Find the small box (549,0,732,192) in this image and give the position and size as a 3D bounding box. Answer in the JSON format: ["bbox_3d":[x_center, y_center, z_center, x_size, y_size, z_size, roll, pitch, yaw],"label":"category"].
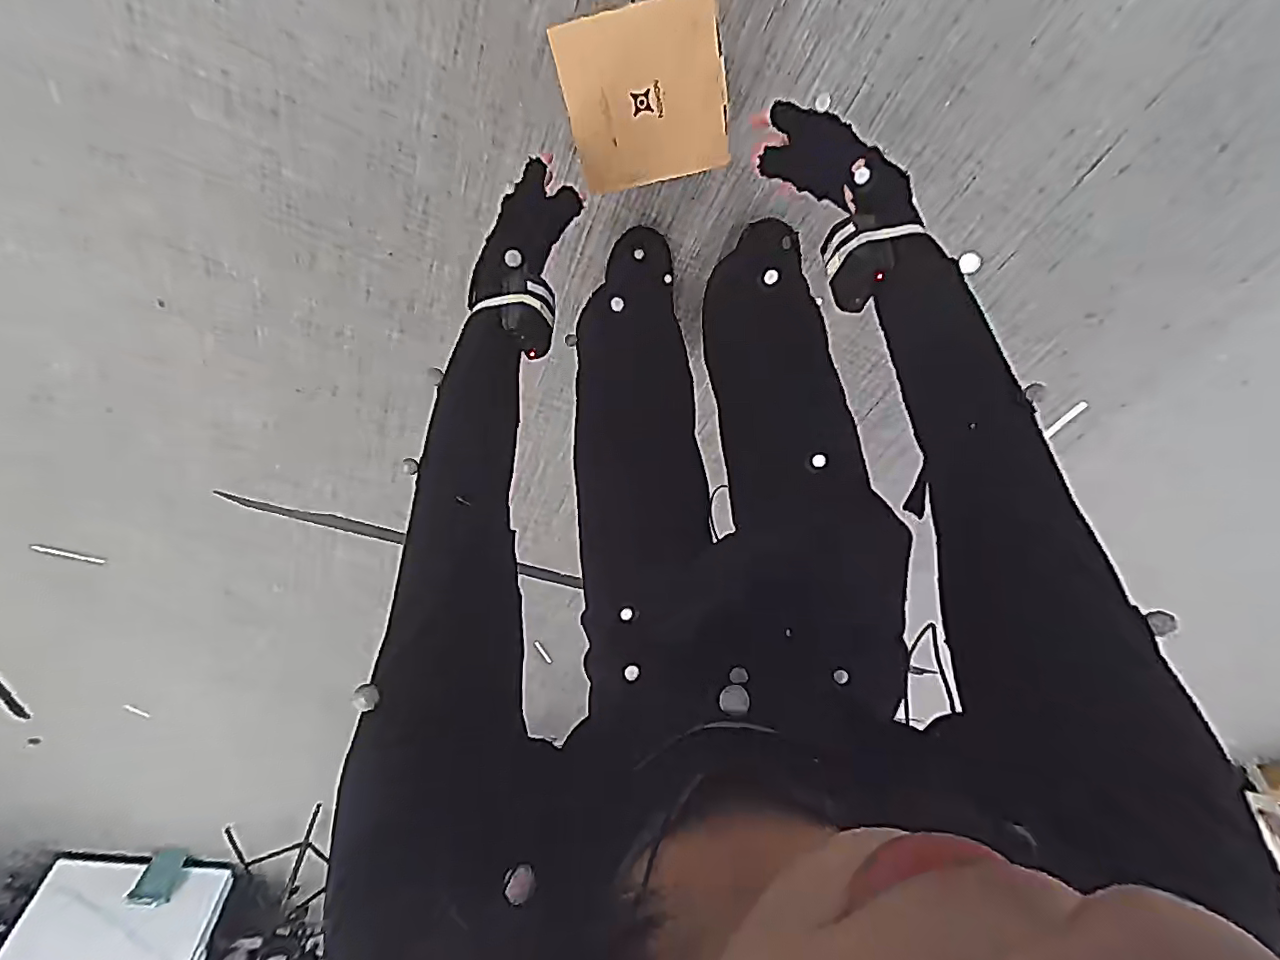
[{"bbox_3d":[0.006,-0.471,0.643,0.179,0.176,0.168,-8,132,9],"label":"small box"}]
